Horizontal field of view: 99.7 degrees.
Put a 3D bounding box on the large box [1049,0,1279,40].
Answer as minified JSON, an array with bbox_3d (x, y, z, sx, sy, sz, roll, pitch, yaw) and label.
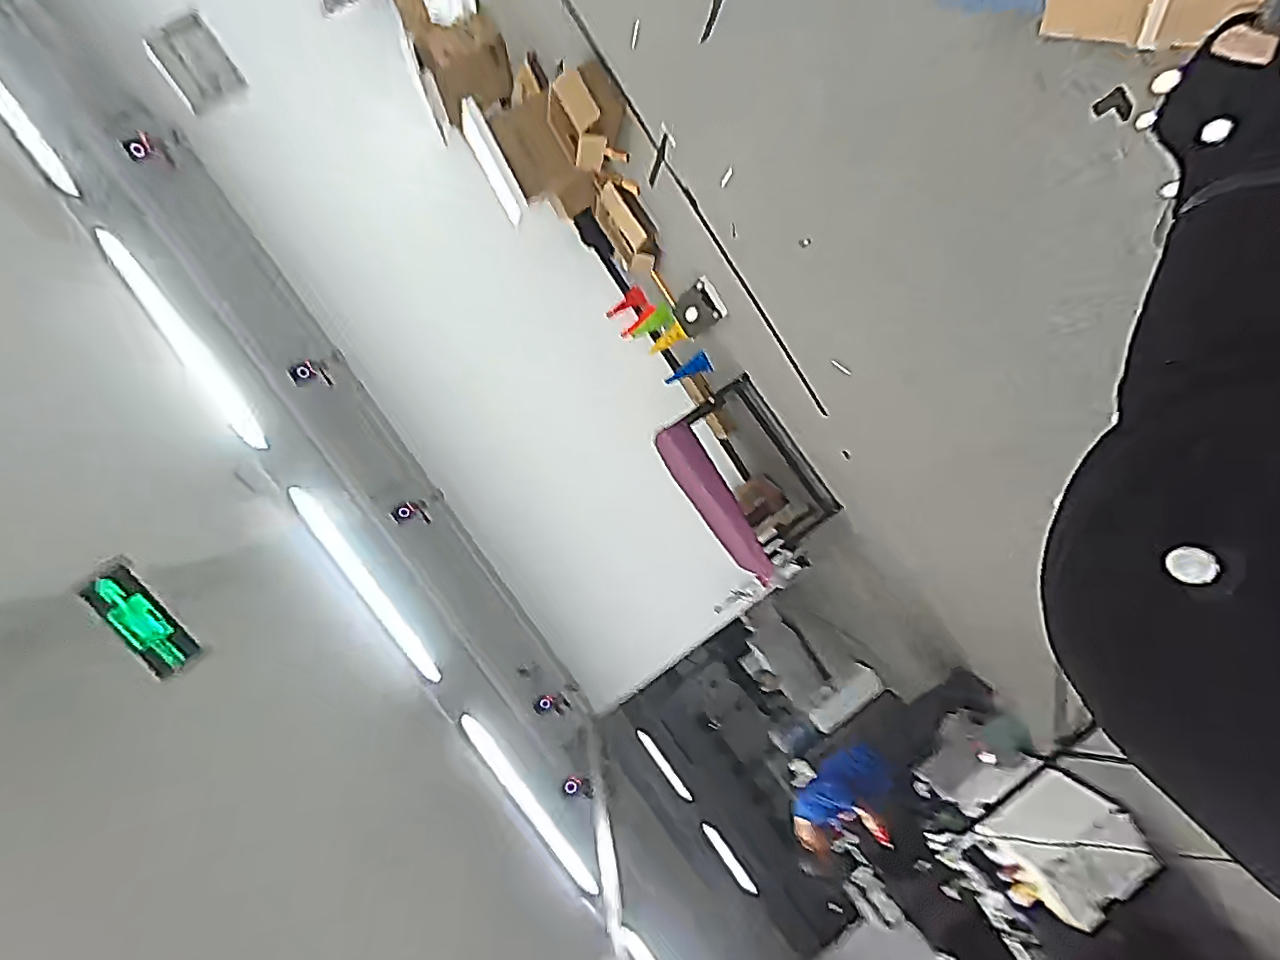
[{"bbox_3d":[0.768,-0.804,0.604,0.320,0.320,0.408,49,170,39],"label":"large box"}]
